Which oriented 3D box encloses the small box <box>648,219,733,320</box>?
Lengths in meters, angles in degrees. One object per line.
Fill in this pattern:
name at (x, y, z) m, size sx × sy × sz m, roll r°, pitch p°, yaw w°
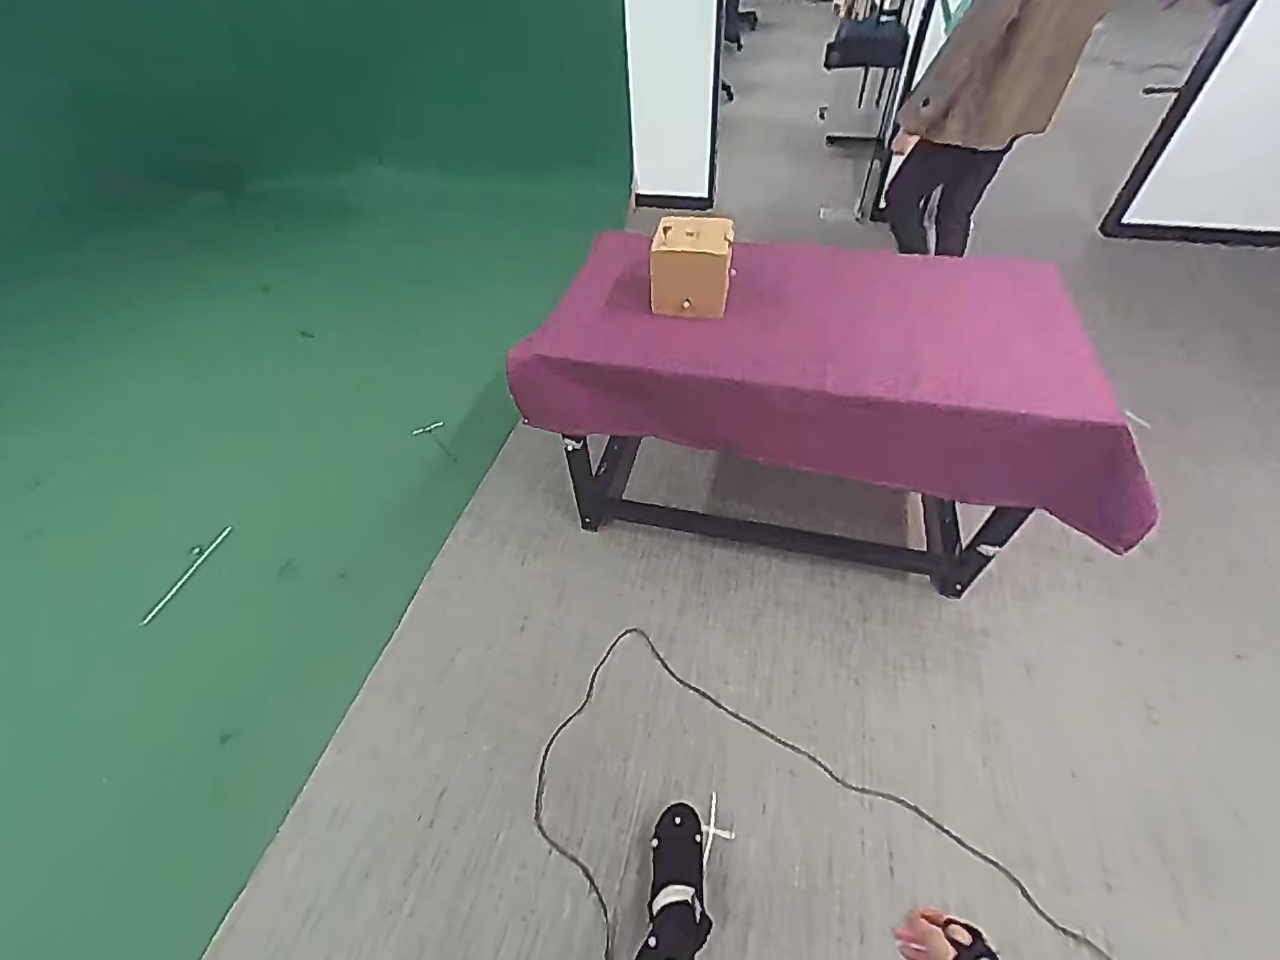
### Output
small box at (0.121, -0.505, 1.306) m, size 0.179 × 0.176 × 0.168 m, roll 8°, pitch 51°, yaw 10°
